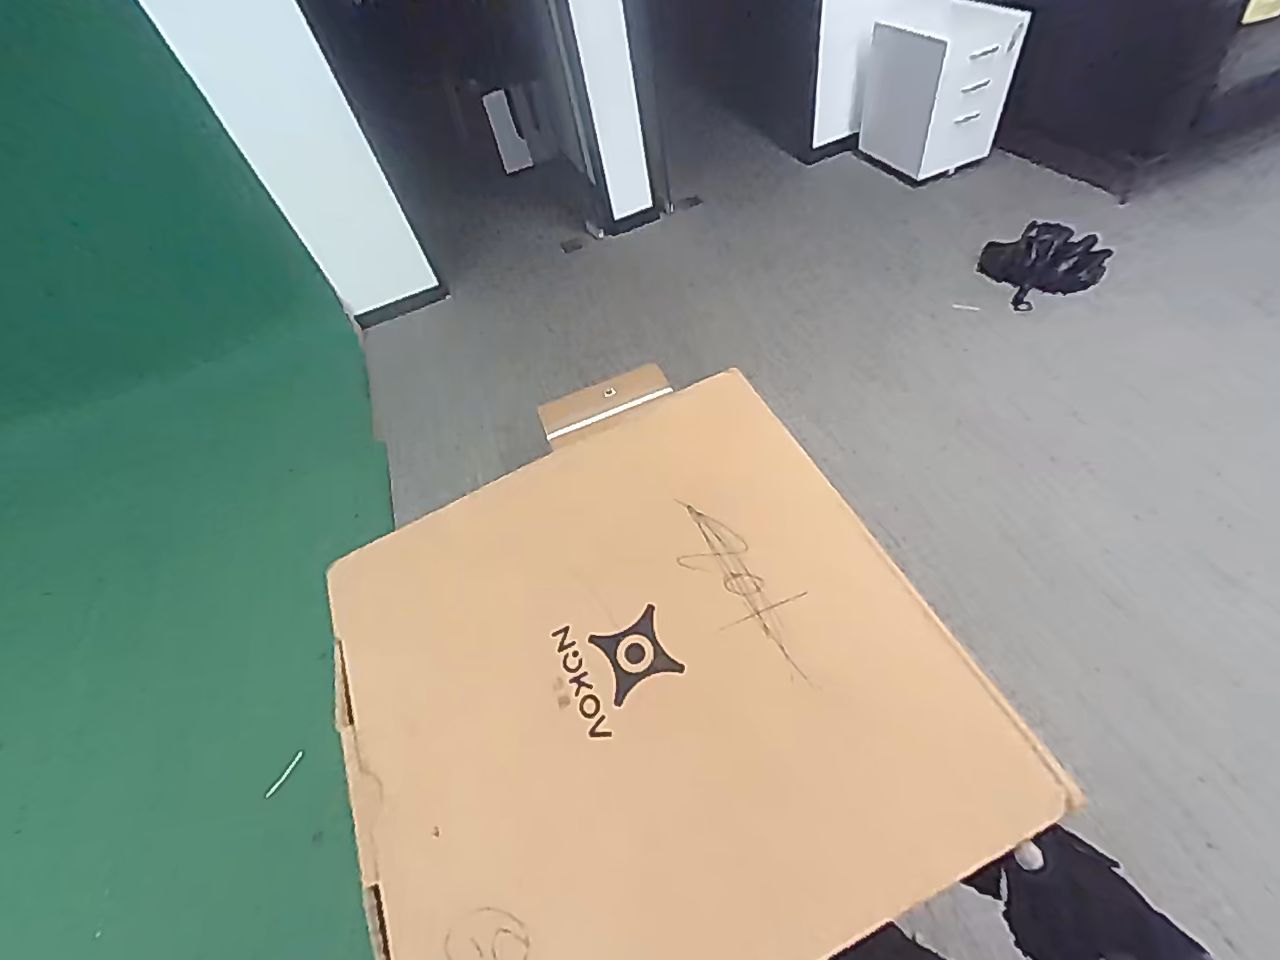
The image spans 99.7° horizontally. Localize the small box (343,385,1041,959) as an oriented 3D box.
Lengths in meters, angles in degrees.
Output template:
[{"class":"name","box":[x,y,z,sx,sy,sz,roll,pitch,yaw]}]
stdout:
[{"class":"small box","box":[0.009,0.098,0.241,0.179,0.176,0.168,-26,60,-6]}]
